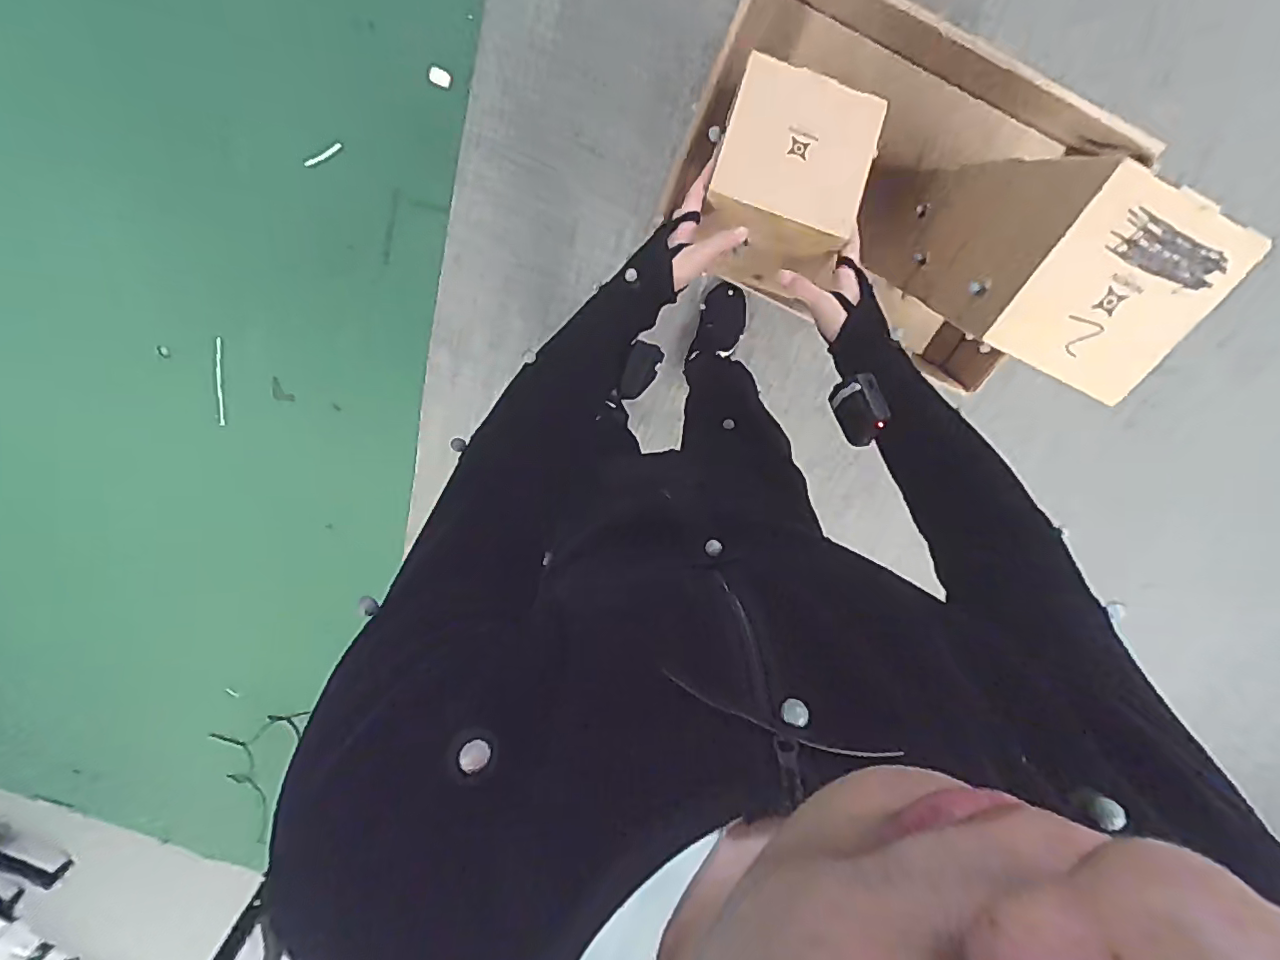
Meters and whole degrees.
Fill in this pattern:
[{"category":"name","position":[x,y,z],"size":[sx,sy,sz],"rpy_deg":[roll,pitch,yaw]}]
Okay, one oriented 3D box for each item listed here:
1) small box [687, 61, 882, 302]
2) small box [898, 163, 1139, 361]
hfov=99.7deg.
[{"category":"small box","position":[0.164,-0.350,0.669],"size":[0.168,0.176,0.179],"rpy_deg":[17,81,-4]},{"category":"small box","position":[0.474,-0.290,0.718],"size":[0.168,0.176,0.179],"rpy_deg":[24,118,-6]}]
